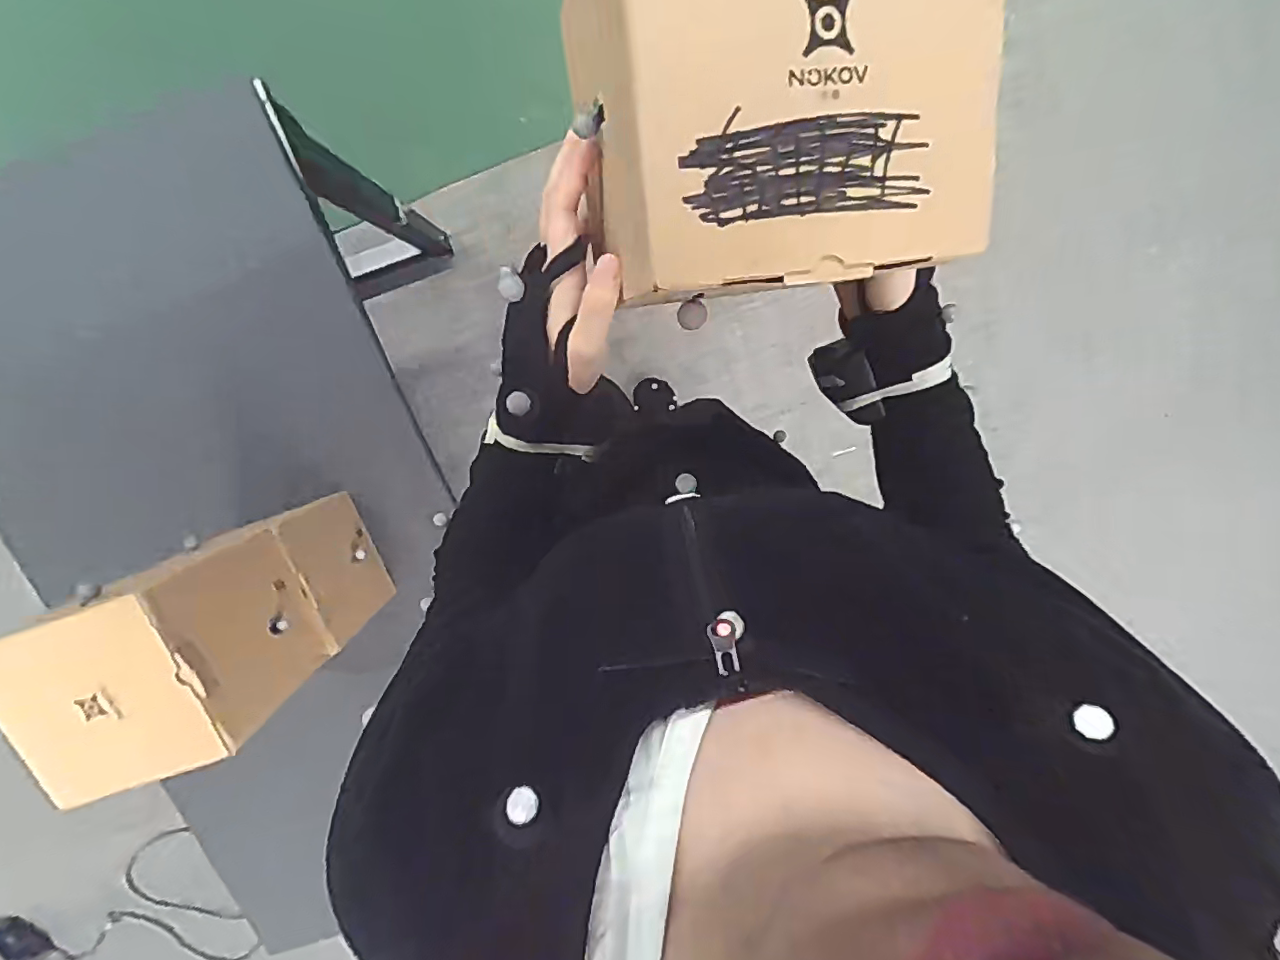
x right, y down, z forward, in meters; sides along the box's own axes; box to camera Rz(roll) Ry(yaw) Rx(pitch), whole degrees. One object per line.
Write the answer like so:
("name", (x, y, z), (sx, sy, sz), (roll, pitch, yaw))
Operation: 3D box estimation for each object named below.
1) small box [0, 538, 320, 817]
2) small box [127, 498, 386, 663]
("small box", (-0.467, 0.178, 0.531), (0.179, 0.176, 0.168), (-19, 102, 2))
("small box", (-0.466, 0.139, 0.689), (0.179, 0.176, 0.168), (-19, 103, 2))
